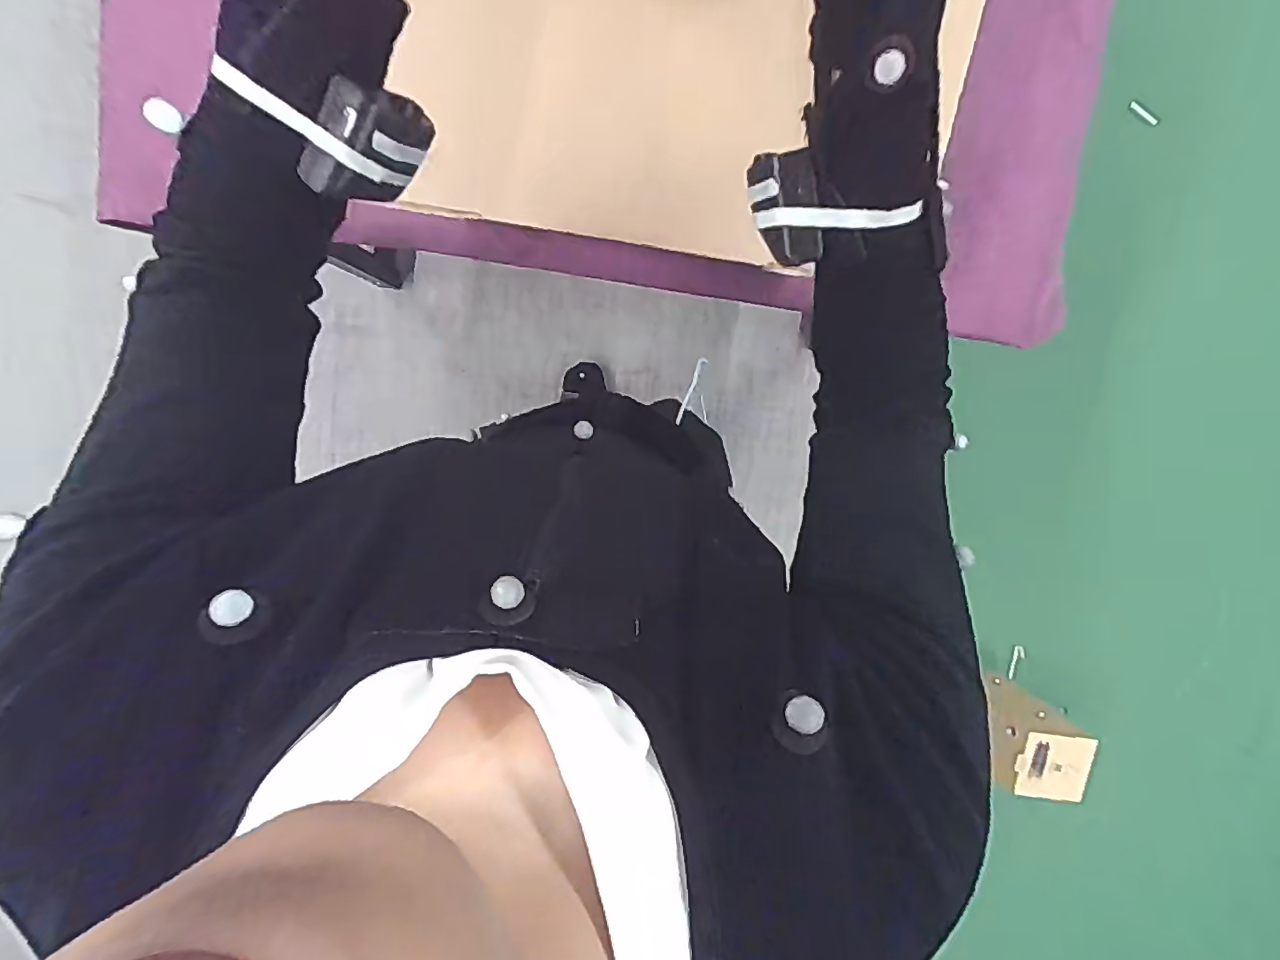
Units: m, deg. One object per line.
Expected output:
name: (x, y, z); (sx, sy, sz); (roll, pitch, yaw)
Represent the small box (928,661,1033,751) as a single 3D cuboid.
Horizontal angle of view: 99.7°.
small box: (0.957, 0.635, 1.538); (0.179, 0.176, 0.168); (9, 99, -4)
